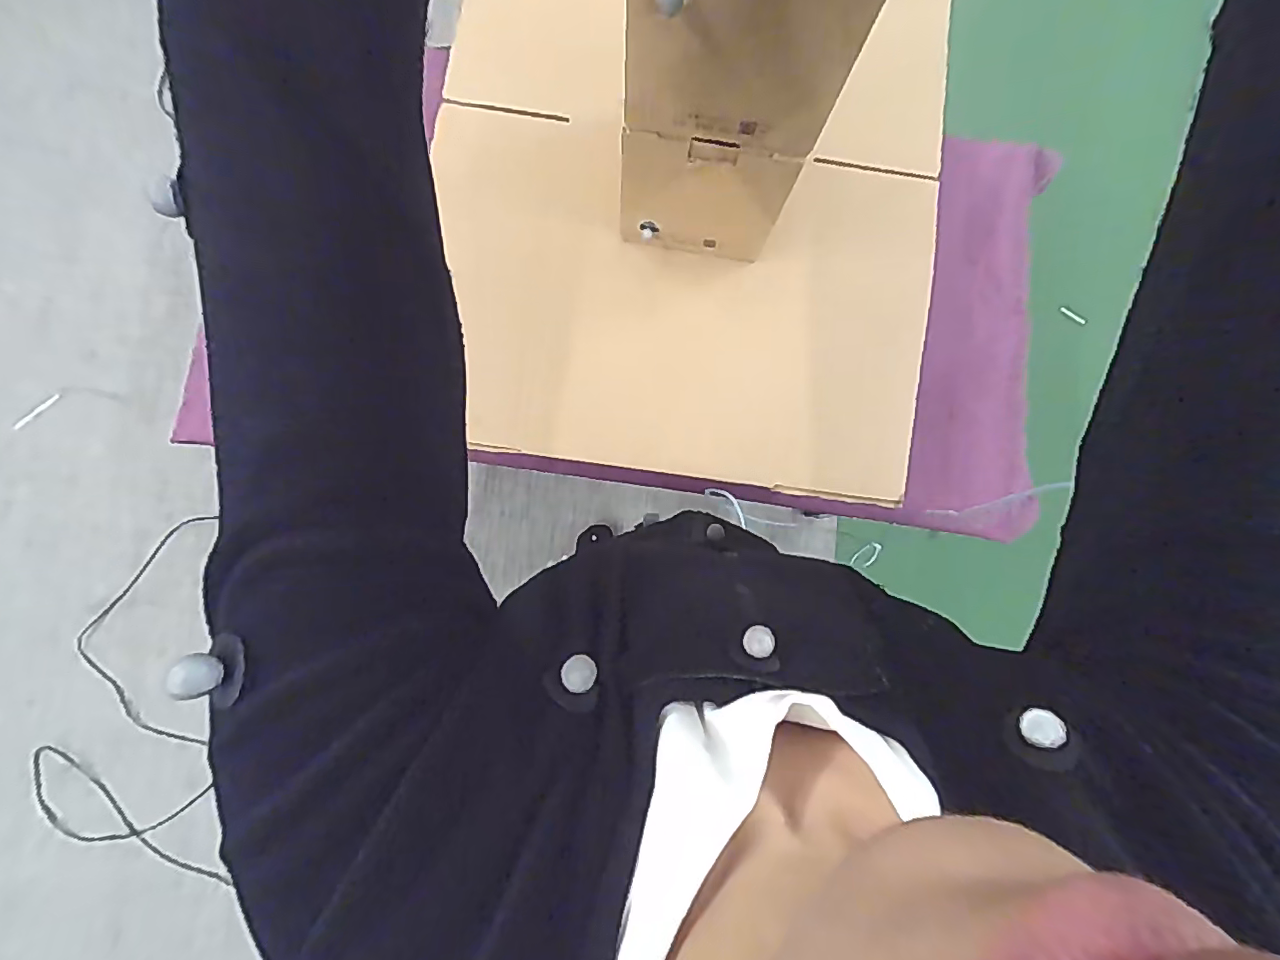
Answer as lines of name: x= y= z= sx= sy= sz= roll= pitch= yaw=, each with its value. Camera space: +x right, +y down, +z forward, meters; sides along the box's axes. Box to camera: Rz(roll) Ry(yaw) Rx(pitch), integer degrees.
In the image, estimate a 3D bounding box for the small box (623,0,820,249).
small box: x=0.072 y=-0.364 z=0.557 sx=0.168 sy=0.176 sz=0.179 roll=5 pitch=84 yaw=-2
